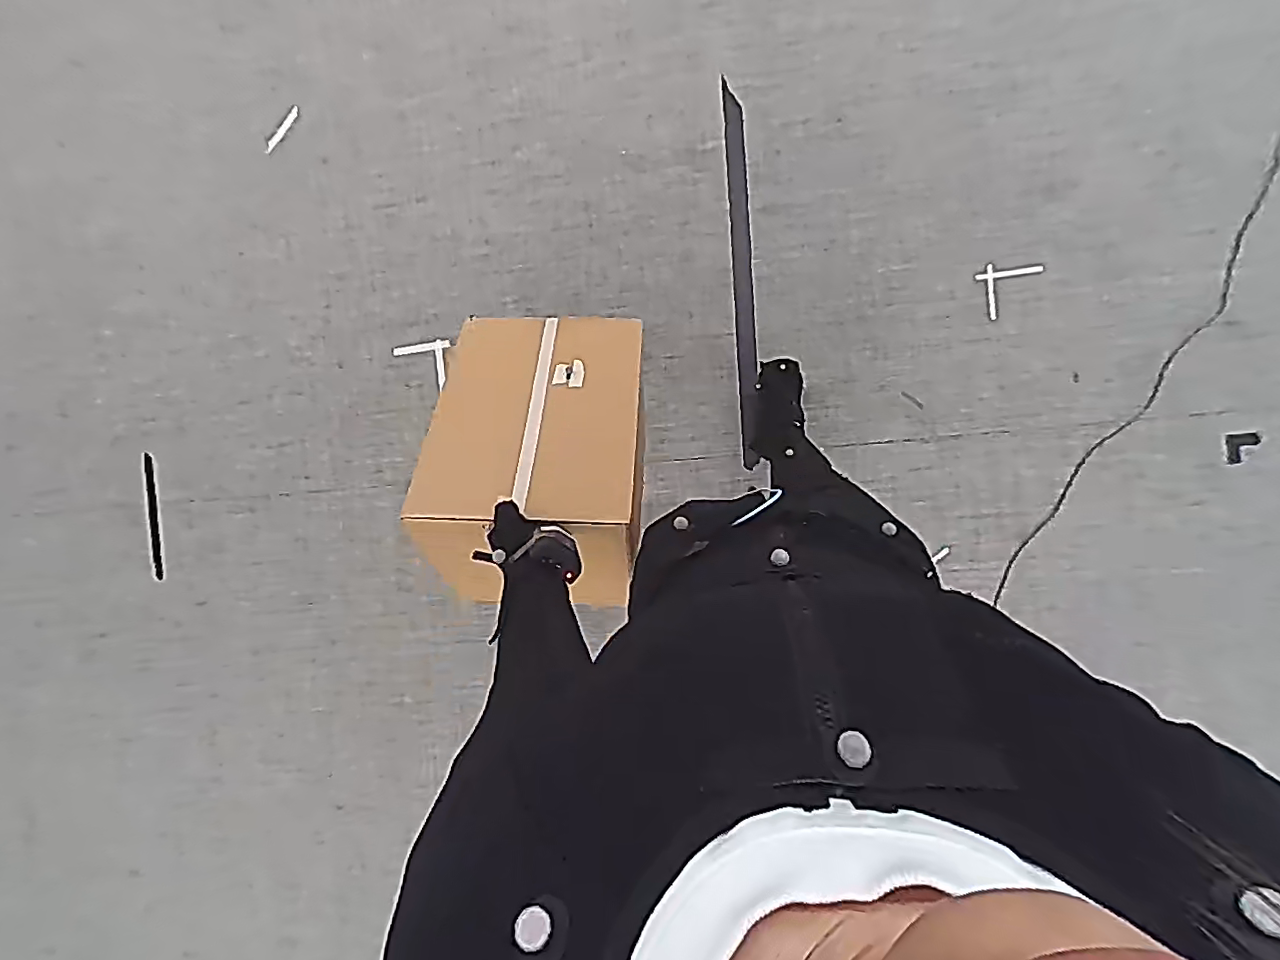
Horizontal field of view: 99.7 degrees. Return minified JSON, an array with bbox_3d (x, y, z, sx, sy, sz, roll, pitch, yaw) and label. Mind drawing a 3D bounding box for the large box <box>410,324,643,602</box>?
[{"bbox_3d":[-0.158,-0.024,0.972,0.320,0.320,0.408,2,56,2],"label":"large box"}]
